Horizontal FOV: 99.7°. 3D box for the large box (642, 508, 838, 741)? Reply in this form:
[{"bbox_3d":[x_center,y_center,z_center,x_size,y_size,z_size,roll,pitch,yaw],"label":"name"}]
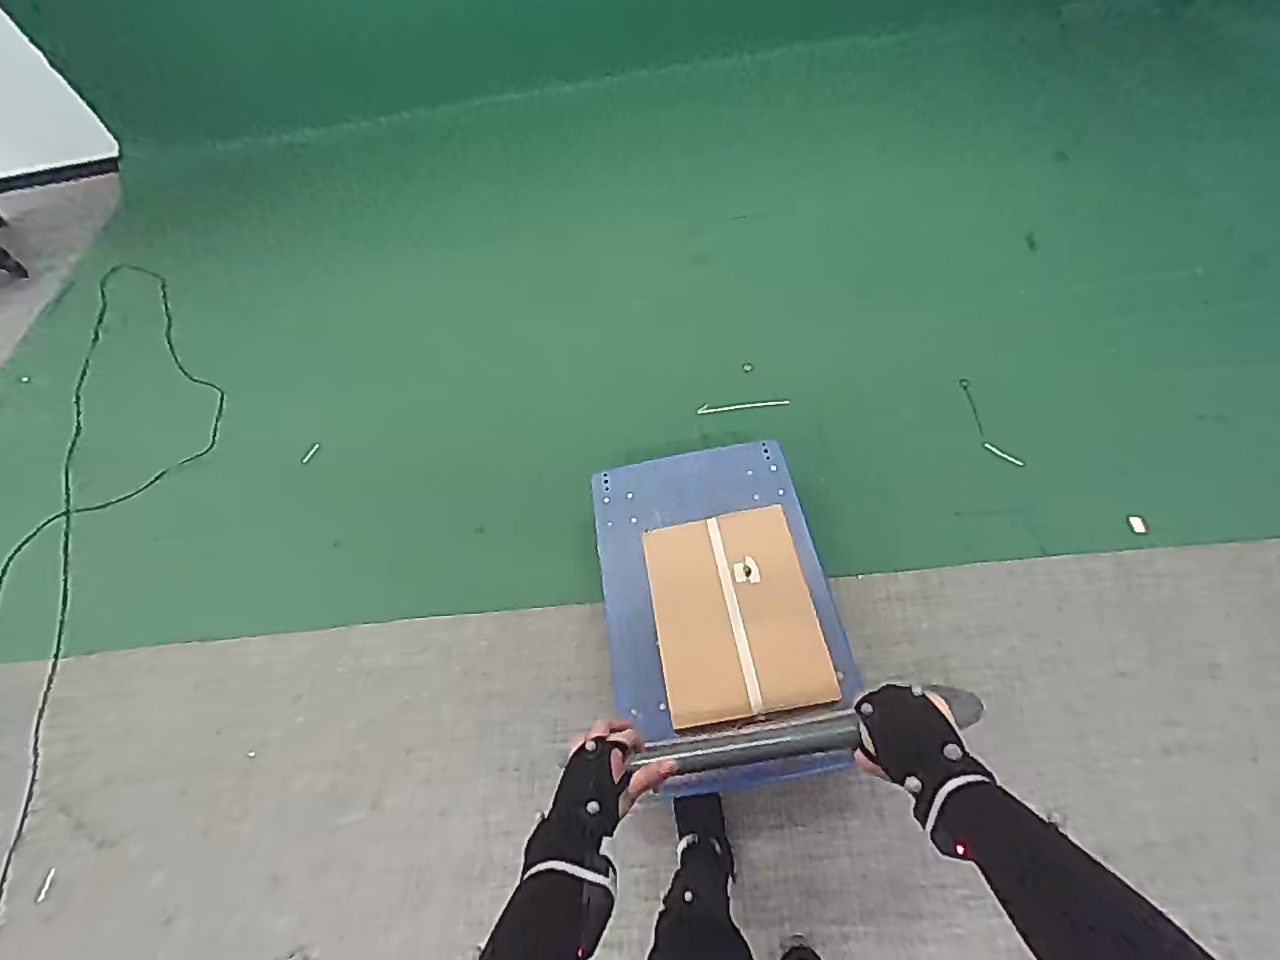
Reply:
[{"bbox_3d":[0.208,0.332,1.217,0.320,0.320,0.408,-12,58,3],"label":"large box"}]
